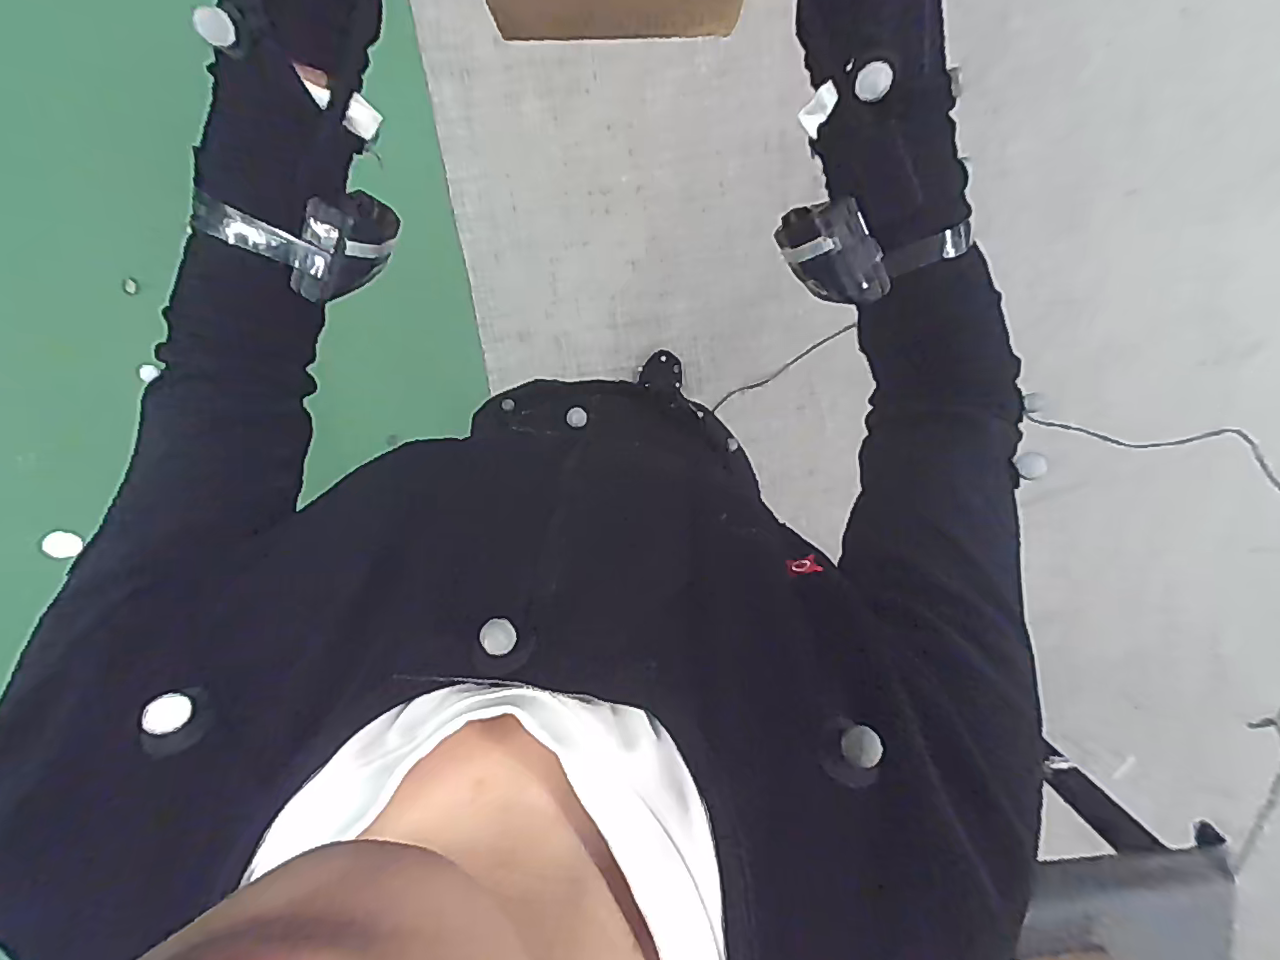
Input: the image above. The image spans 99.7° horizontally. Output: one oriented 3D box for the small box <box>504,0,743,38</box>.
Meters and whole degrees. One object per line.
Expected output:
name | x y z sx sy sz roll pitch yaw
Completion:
small box | -0.012 -0.393 0.313 0.179 0.176 0.168 -1 105 0
